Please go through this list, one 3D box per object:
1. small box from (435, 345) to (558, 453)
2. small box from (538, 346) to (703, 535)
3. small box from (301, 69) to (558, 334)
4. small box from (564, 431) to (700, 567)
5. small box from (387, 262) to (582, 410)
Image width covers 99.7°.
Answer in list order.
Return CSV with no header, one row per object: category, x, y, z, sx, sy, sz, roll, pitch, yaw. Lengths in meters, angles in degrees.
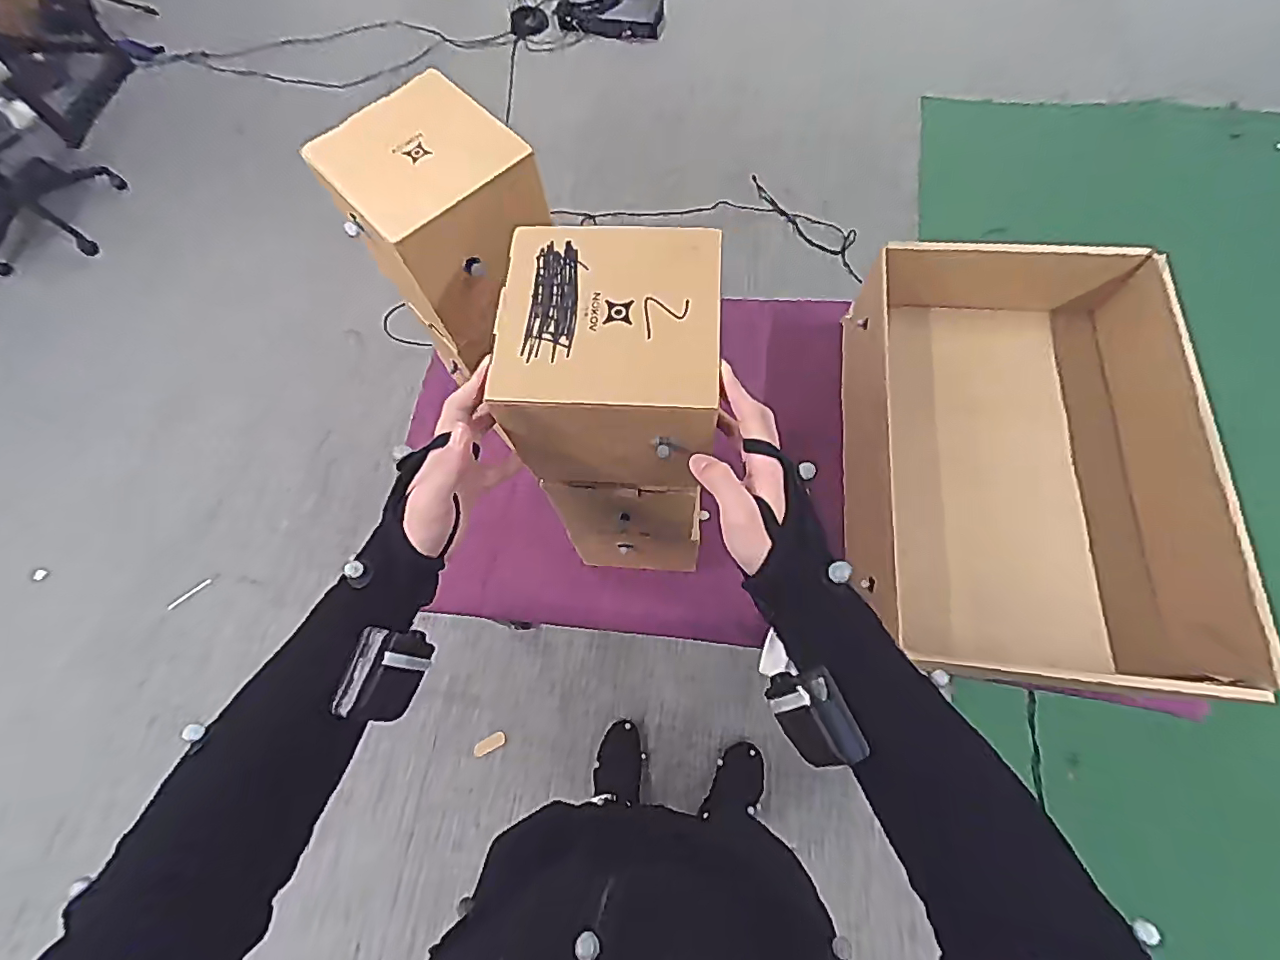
small box,-0.197,-0.166,0.897,0.168,0.176,0.179,-40,71,-12
small box,-0.013,-0.039,0.657,0.168,0.176,0.179,4,68,5
small box,-0.213,-0.290,0.598,0.168,0.176,0.179,-41,72,-12
small box,-0.003,0.029,0.806,0.179,0.176,0.168,3,68,4
small box,-0.200,-0.229,0.747,0.179,0.176,0.168,-40,73,-12
